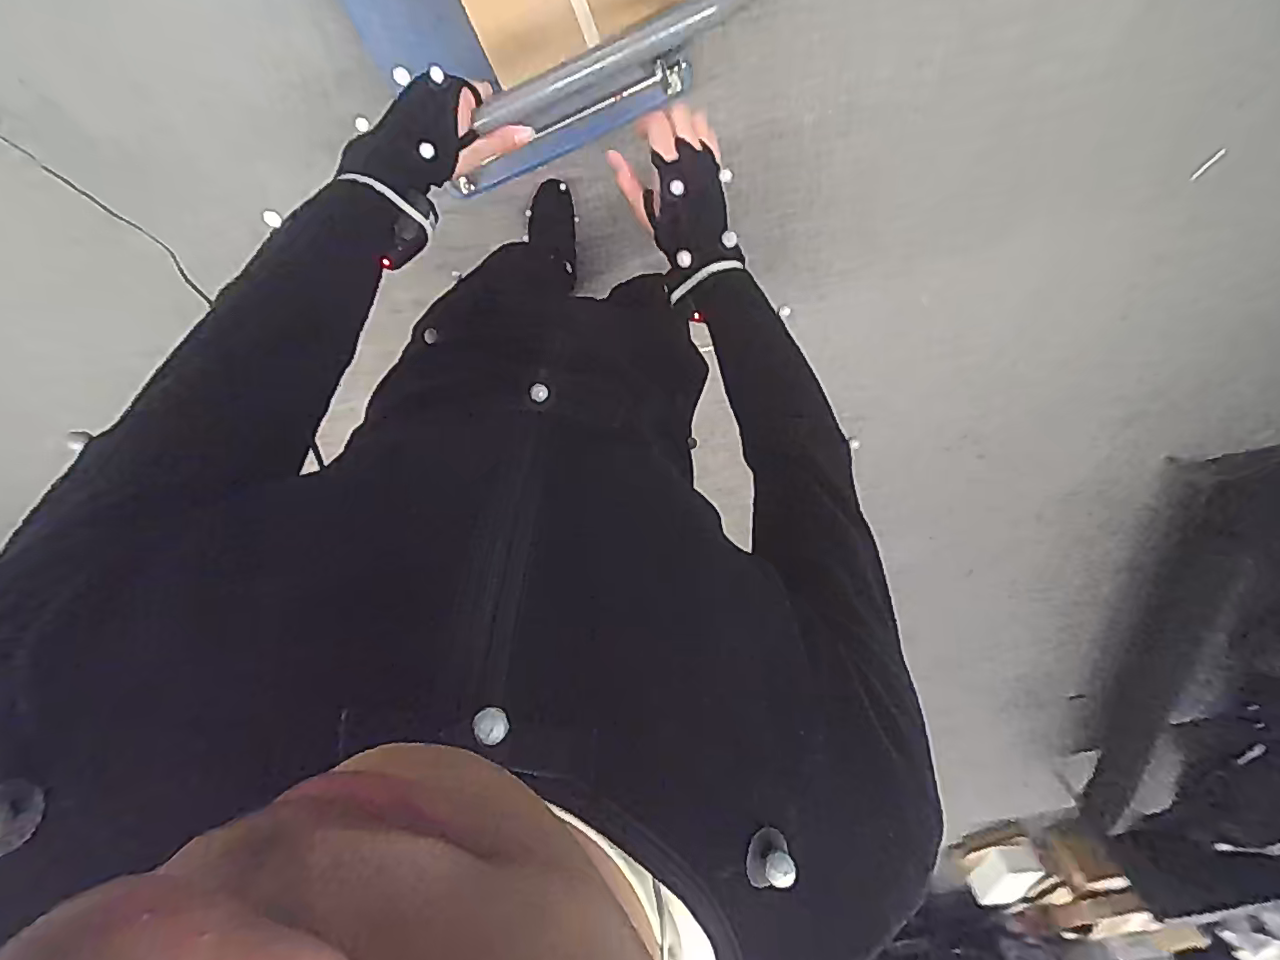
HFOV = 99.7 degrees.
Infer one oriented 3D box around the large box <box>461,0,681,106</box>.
[{"bbox_3d":[-0.159,-0.891,0.855,0.320,0.320,0.408,-23,121,7],"label":"large box"}]
